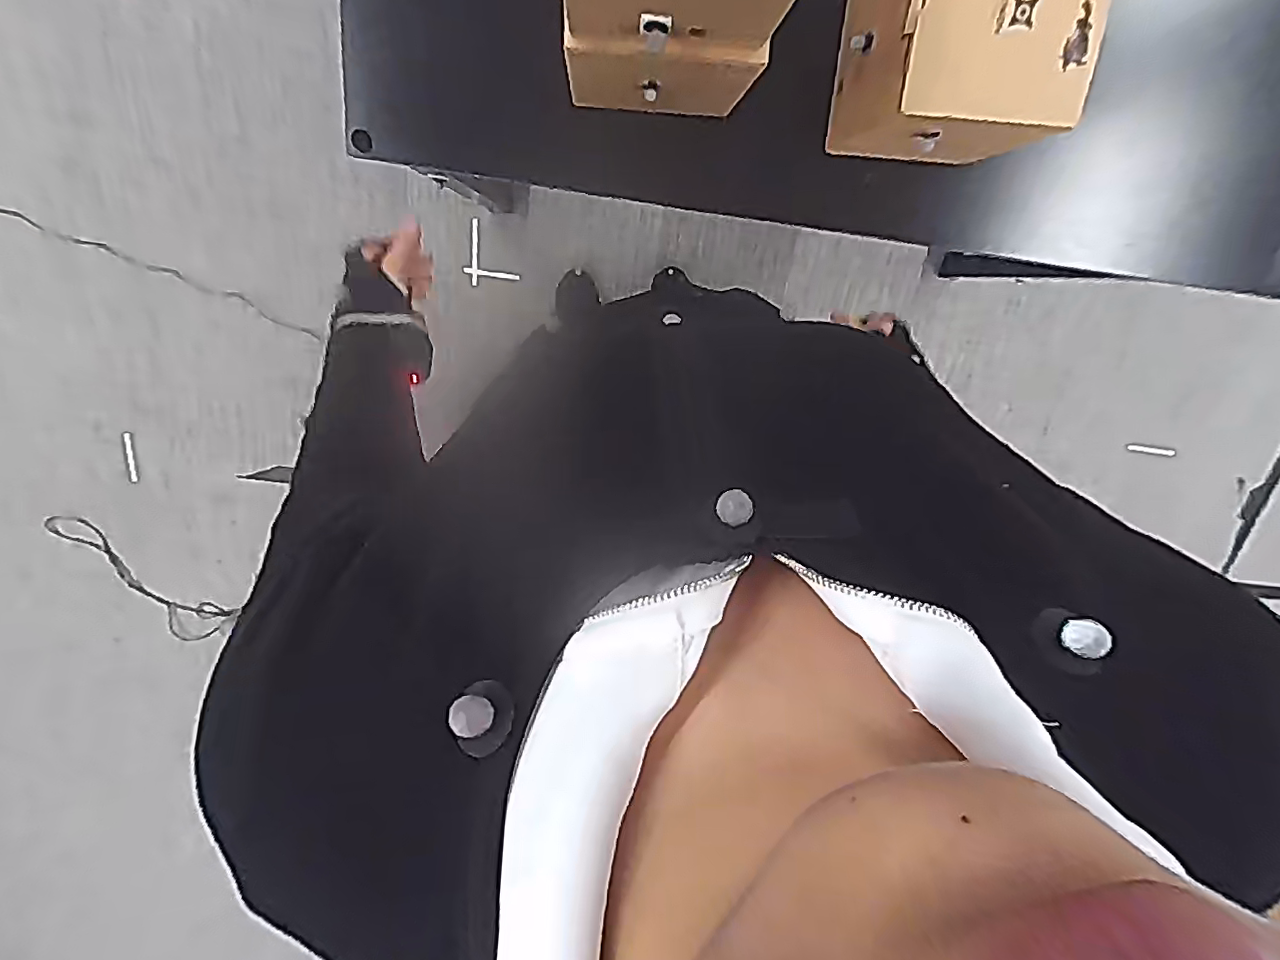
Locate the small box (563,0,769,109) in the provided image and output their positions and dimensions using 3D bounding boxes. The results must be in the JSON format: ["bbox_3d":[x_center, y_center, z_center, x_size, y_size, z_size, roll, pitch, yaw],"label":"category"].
[{"bbox_3d":[0.022,-0.468,0.504,0.179,0.176,0.168,2,110,-4],"label":"small box"}]

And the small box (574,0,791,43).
[{"bbox_3d":[0.031,-0.423,0.348,0.168,0.176,0.179,0,111,-2],"label":"small box"}]

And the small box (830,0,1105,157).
[{"bbox_3d":[0.310,-0.435,0.538,0.179,0.176,0.168,2,110,-4],"label":"small box"}]
